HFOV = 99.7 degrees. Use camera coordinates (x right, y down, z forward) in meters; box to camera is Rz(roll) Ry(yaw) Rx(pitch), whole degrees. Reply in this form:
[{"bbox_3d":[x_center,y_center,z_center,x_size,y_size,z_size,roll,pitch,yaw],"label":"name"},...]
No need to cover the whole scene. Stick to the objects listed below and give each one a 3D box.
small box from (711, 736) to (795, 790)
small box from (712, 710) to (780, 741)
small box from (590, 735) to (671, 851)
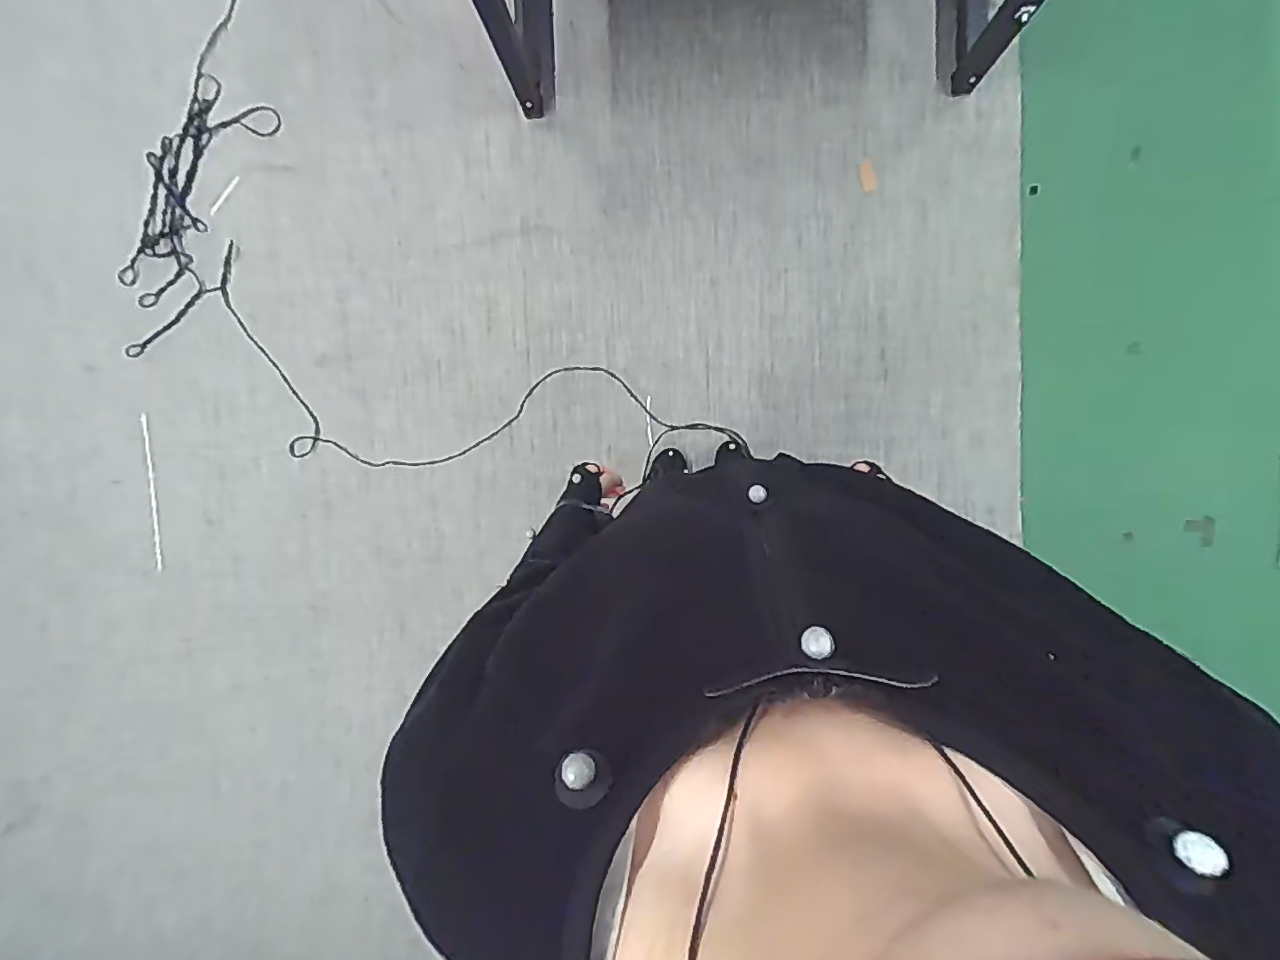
[{"bbox_3d":[0.258,0.708,1.244,0.179,0.176,0.168,-6,90,7],"label":"small box"},{"bbox_3d":[0.279,0.716,1.405,0.168,0.176,0.179,-7,92,8],"label":"small box"},{"bbox_3d":[-0.016,0.731,1.275,0.168,0.176,0.179,-6,92,4],"label":"small box"}]
